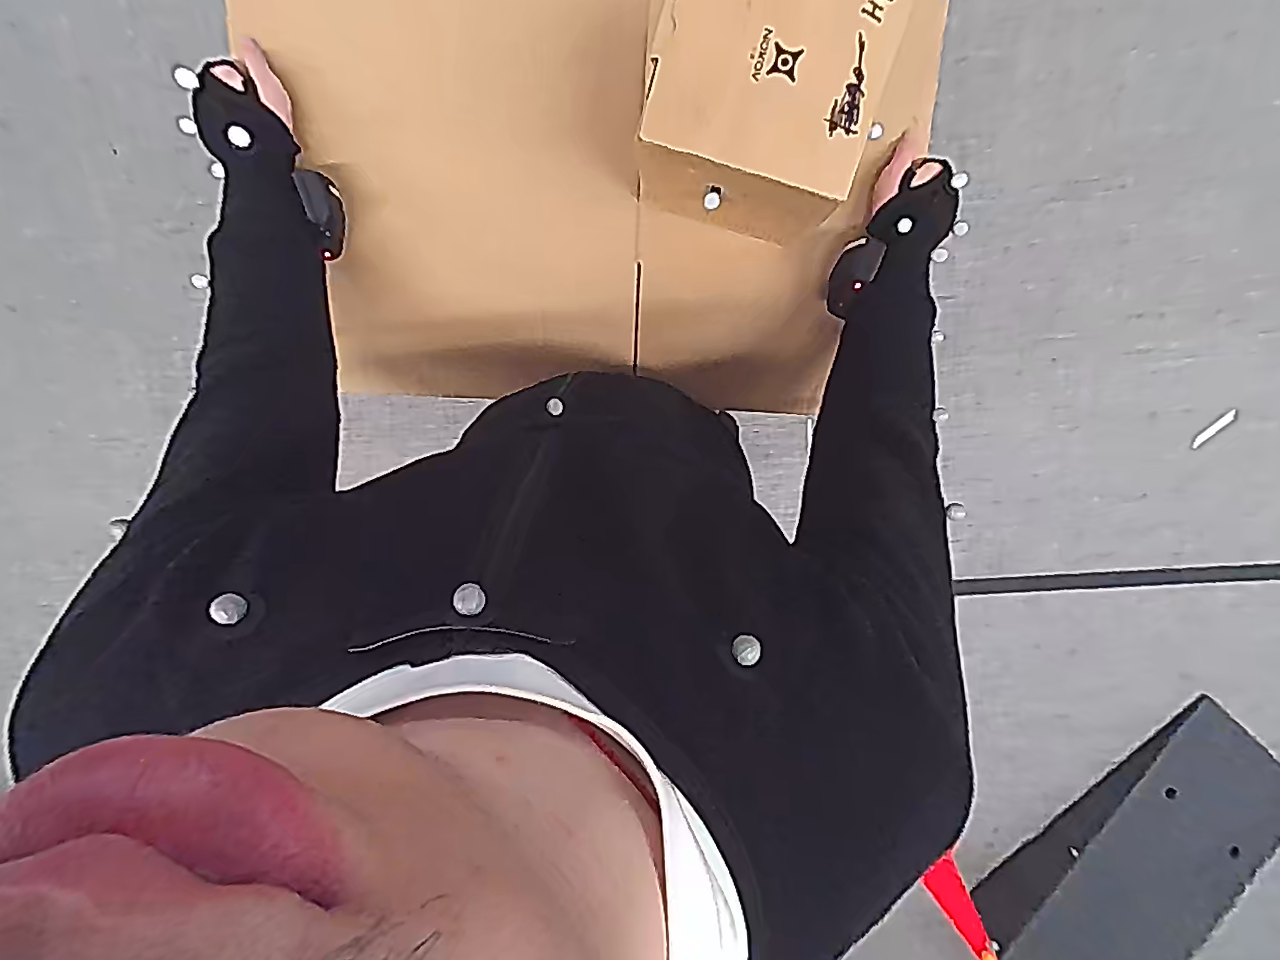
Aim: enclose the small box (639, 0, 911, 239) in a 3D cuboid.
[{"bbox_3d":[0.109,-0.342,0.498,0.179,0.176,0.168,17,102,0],"label":"small box"}]
